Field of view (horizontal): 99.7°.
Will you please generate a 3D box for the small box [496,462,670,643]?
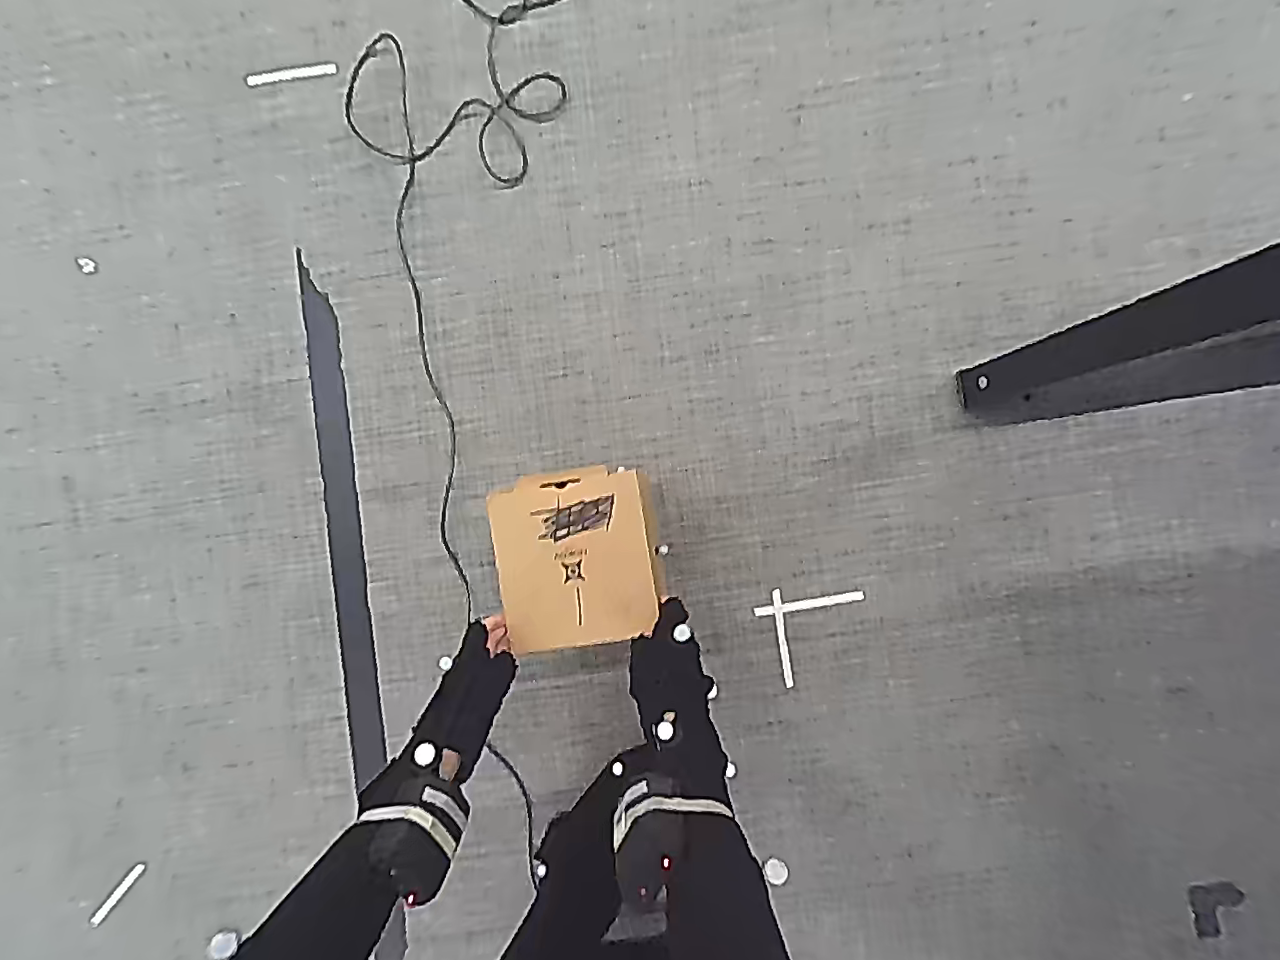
[{"bbox_3d":[-0.058,0.080,0.651,0.168,0.176,0.179,-9,88,5],"label":"small box"}]
